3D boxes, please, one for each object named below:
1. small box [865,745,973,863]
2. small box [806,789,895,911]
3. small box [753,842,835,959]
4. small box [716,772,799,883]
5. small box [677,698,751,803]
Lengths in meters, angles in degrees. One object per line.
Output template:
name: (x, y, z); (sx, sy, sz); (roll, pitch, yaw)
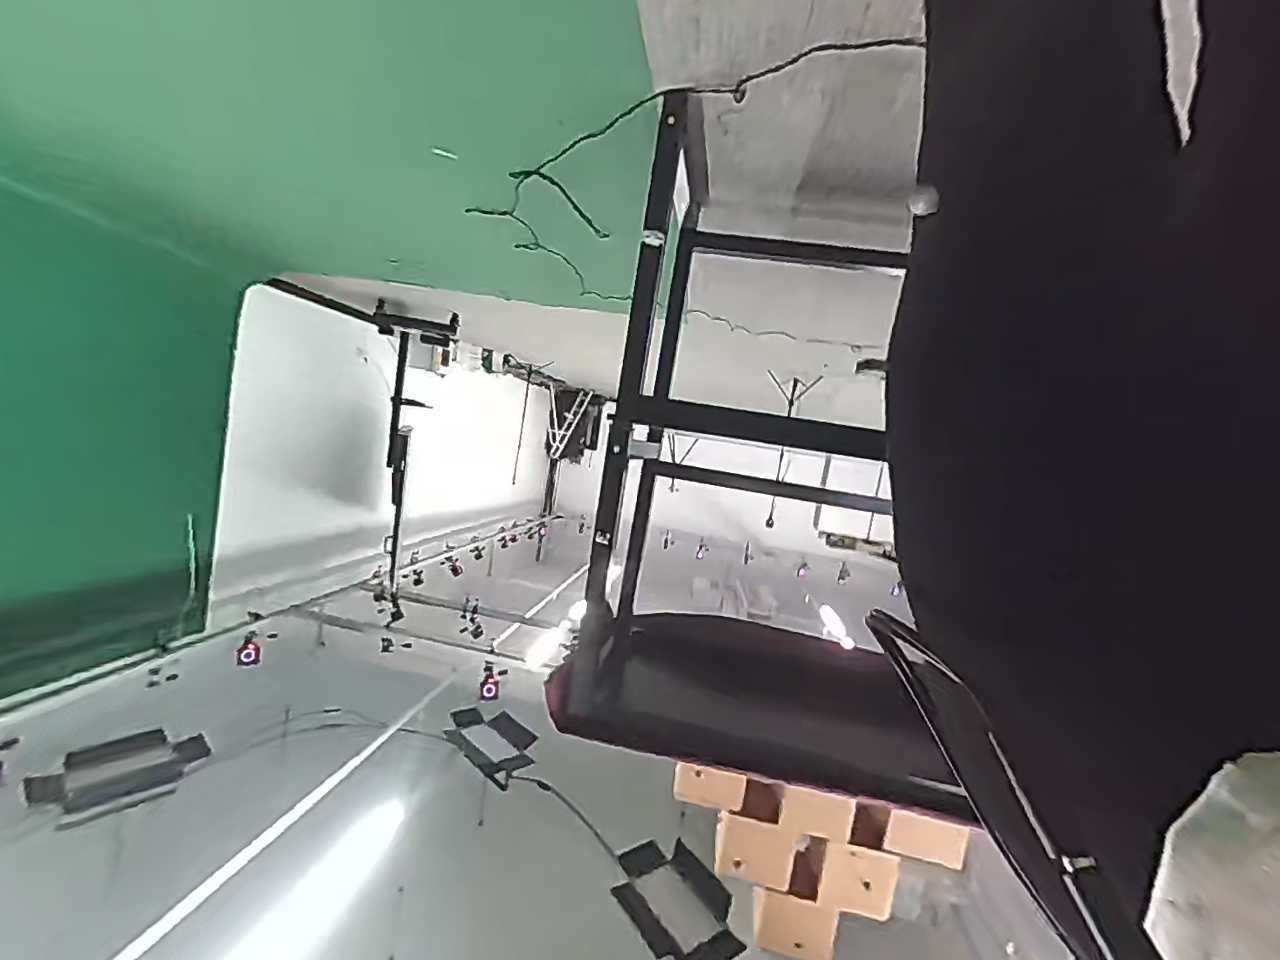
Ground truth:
small box: (0.682, 0.786, 1.334); (0.179, 0.176, 0.168); (11, -175, 9)
small box: (0.529, 0.924, 1.366); (0.168, 0.176, 0.179); (9, -175, 7)
small box: (0.394, 1.067, 1.398); (0.179, 0.176, 0.168); (10, -175, 9)
small box: (0.299, 0.885, 1.402); (0.179, 0.176, 0.168); (10, -174, 8)
small box: (0.191, 0.698, 1.414); (0.168, 0.176, 0.179); (10, -174, 5)
